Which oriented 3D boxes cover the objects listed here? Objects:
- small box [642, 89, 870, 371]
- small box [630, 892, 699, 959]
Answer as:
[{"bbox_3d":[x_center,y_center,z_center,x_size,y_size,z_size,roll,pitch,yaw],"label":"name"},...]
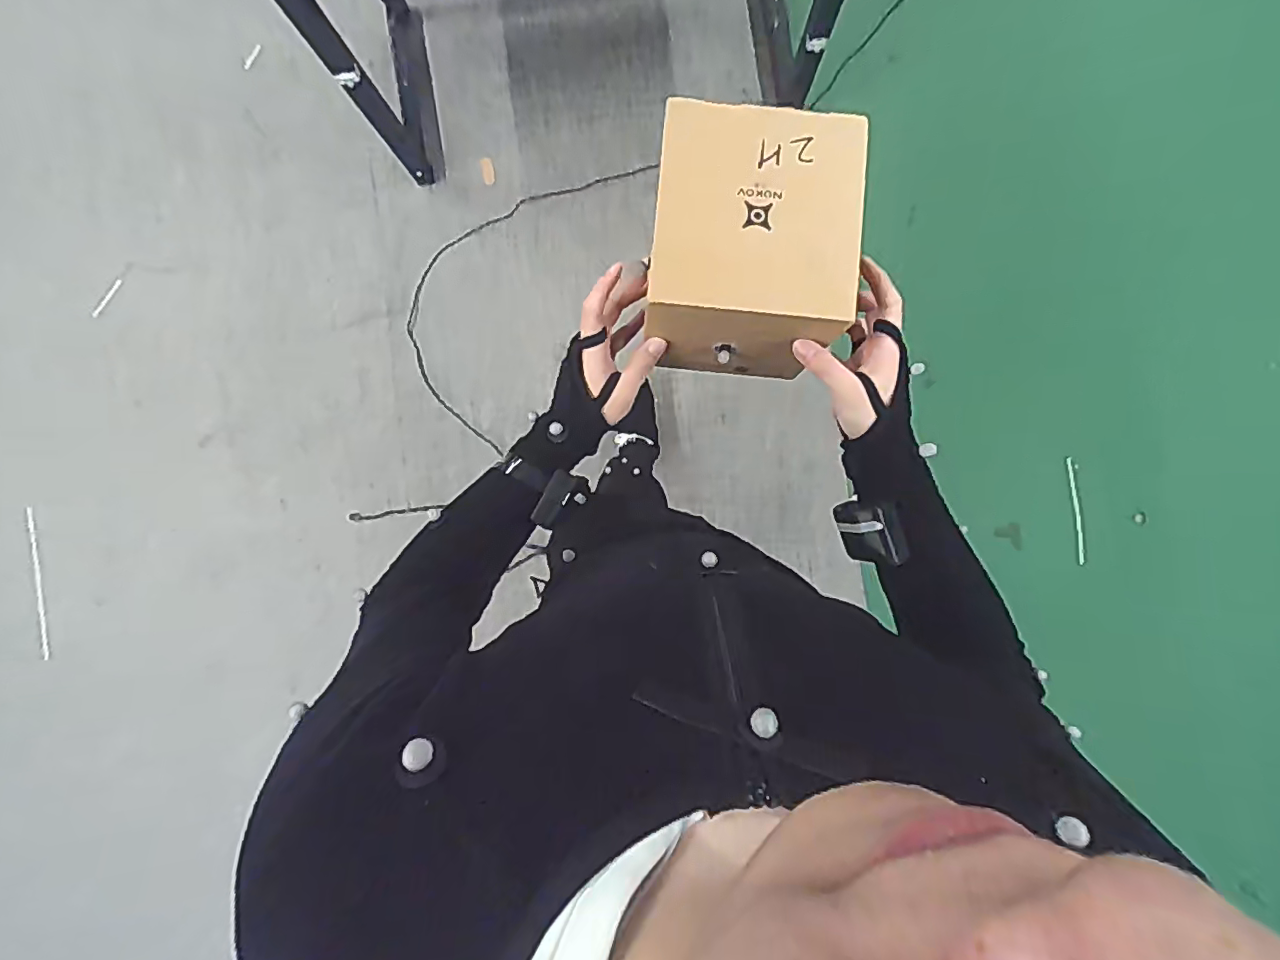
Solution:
[{"bbox_3d":[0.093,-0.211,0.503,0.168,0.176,0.179,6,85,0],"label":"small box"},{"bbox_3d":[0.062,1.261,1.455,0.168,0.176,0.179,6,90,2],"label":"small box"}]
